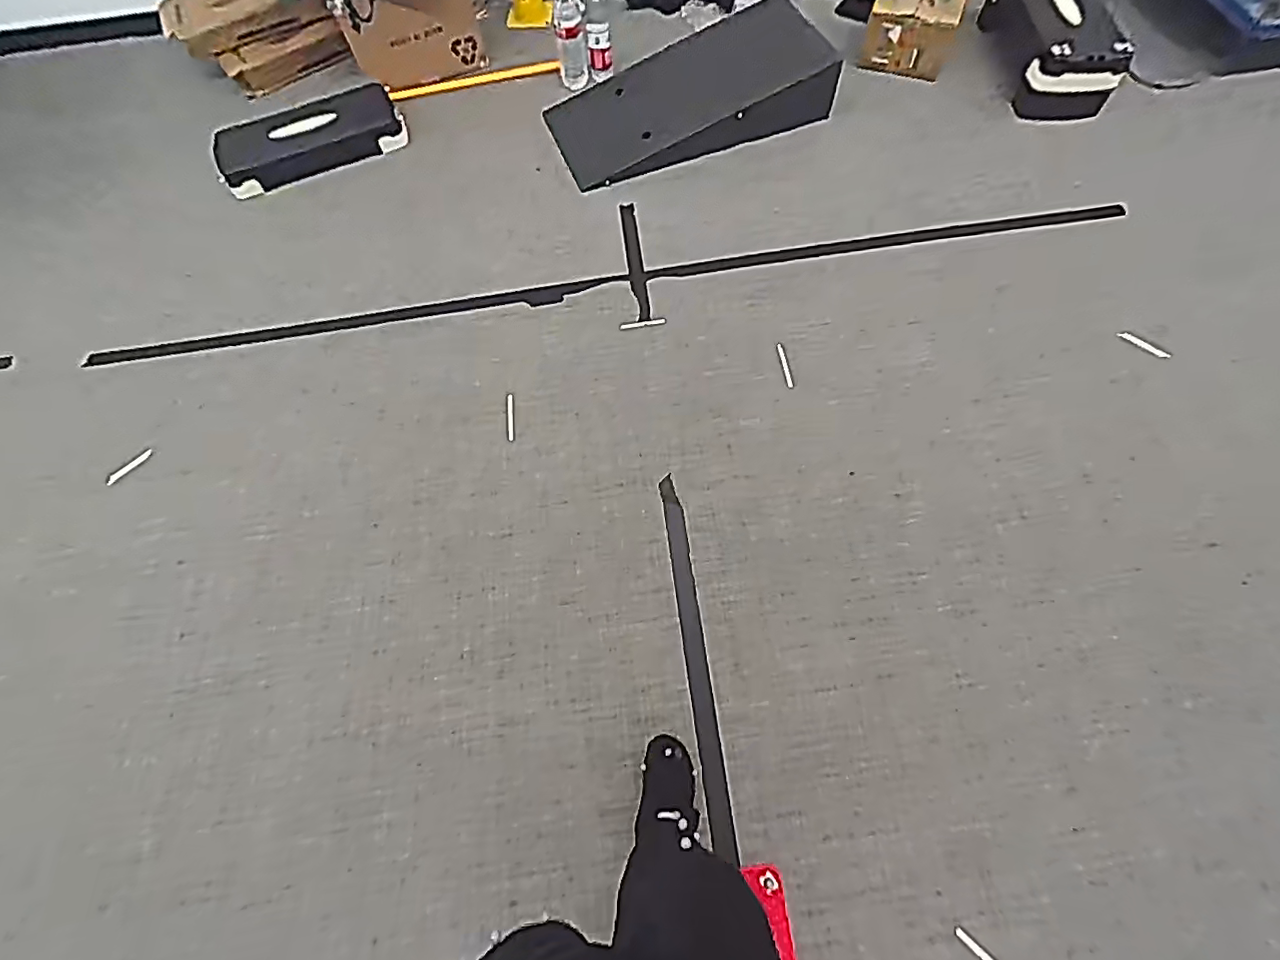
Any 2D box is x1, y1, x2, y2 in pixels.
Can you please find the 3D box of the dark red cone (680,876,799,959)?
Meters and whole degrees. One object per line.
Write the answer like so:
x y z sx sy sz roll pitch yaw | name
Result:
0.172 0.783 0.839 0.201 0.394 0.202 -8 65 0 | dark red cone
